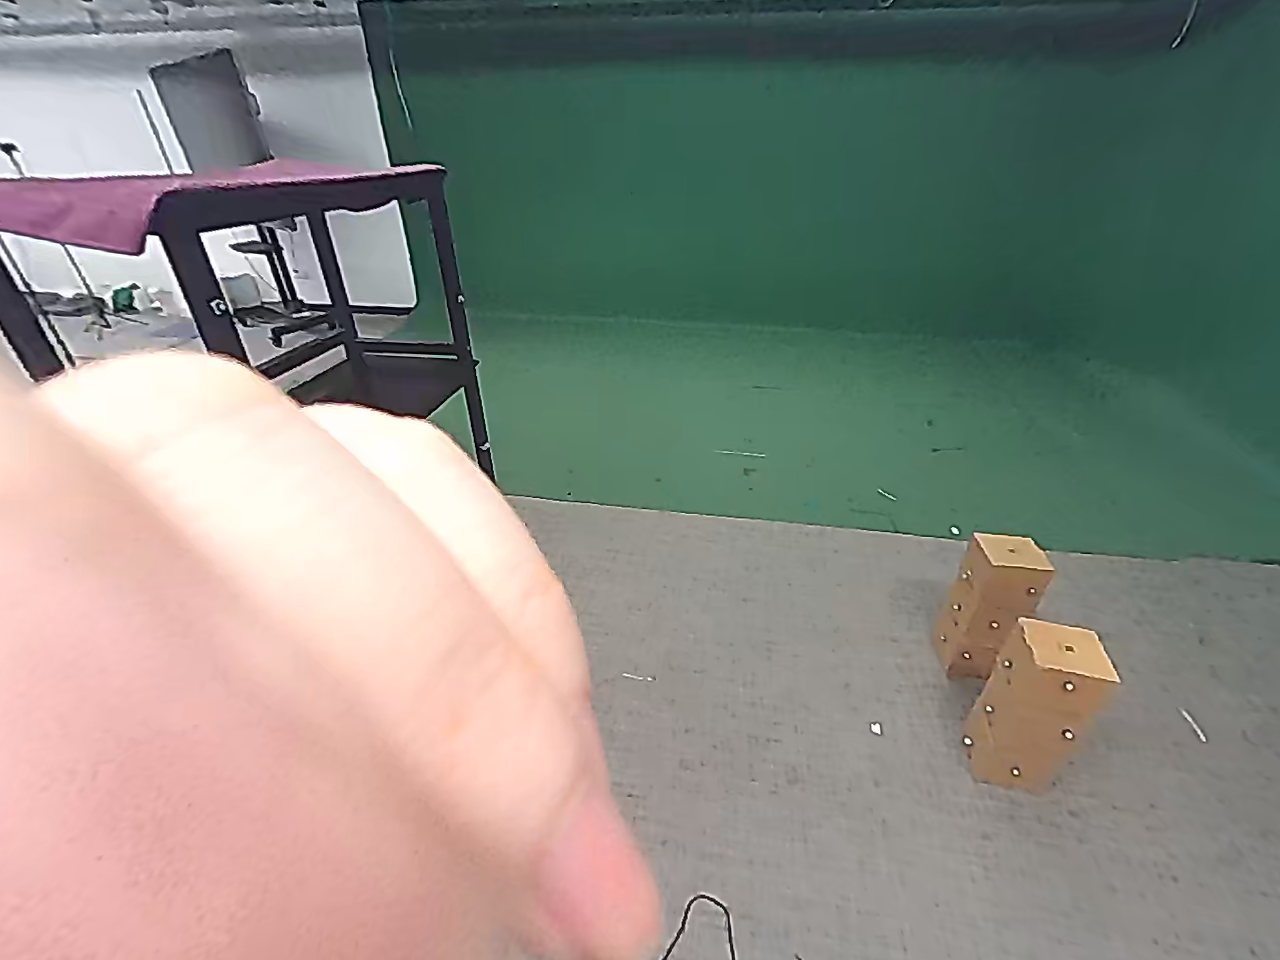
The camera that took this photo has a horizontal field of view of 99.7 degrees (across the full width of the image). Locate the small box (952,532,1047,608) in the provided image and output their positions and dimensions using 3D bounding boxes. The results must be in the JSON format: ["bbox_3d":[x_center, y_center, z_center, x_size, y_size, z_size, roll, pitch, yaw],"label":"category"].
[{"bbox_3d":[1.128,0.286,1.710,0.179,0.176,0.168,4,31,7],"label":"small box"}]

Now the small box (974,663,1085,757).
[{"bbox_3d":[1.053,0.624,1.479,0.179,0.176,0.168,8,32,12],"label":"small box"}]

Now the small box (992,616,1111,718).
[{"bbox_3d":[1.049,0.485,1.396,0.179,0.176,0.168,9,34,14],"label":"small box"}]

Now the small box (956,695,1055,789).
[{"bbox_3d":[1.049,0.762,1.569,0.179,0.176,0.168,8,33,14],"label":"small box"}]

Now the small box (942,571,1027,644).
[{"bbox_3d":[1.132,0.423,1.799,0.179,0.176,0.168,4,32,6],"label":"small box"}]
